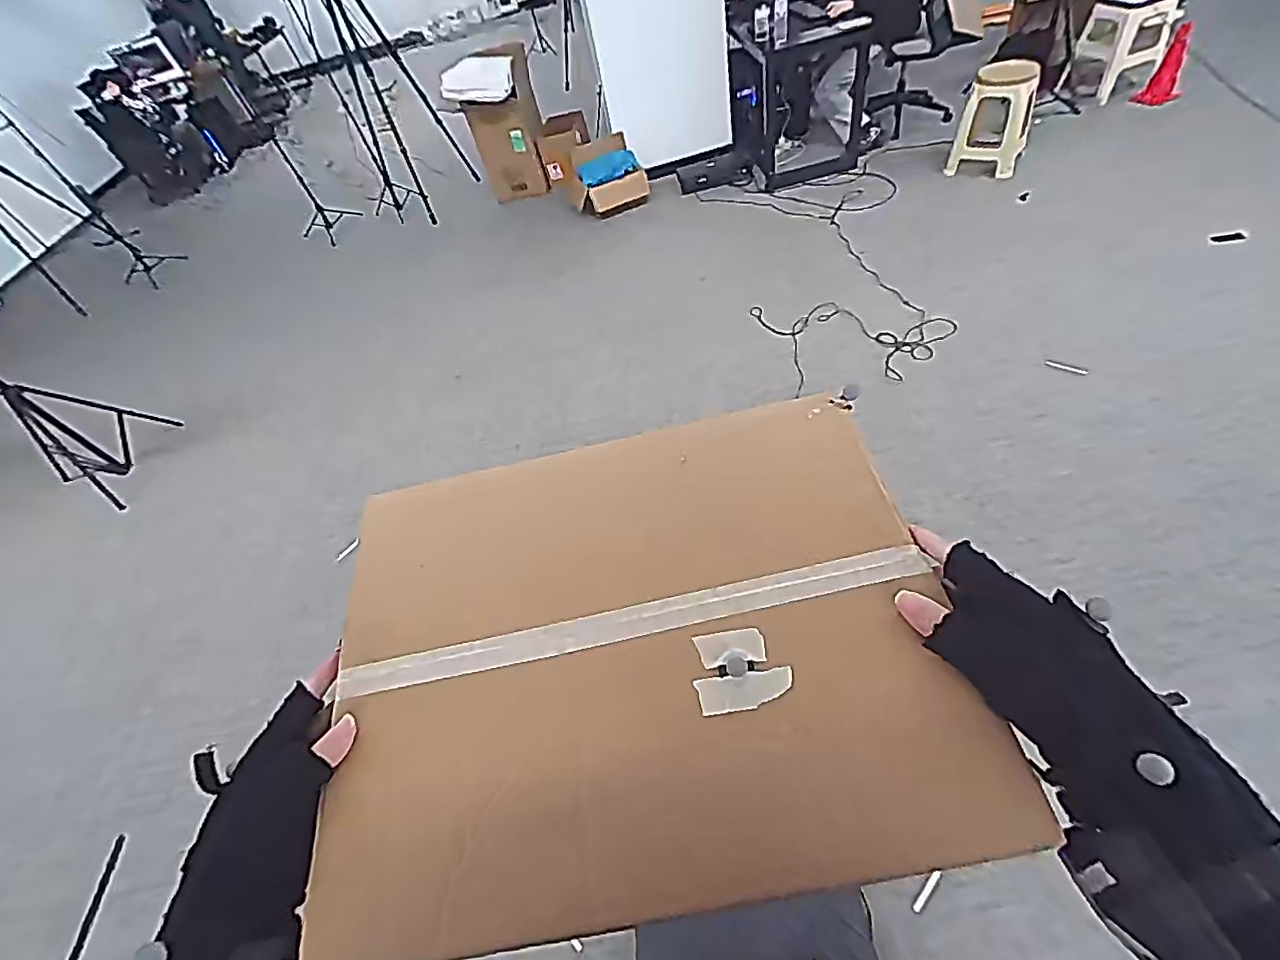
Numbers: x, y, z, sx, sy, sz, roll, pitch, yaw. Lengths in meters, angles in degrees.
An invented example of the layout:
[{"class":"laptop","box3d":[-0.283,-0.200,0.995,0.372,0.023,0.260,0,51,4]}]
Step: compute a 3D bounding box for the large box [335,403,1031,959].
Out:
[{"class":"large box","box3d":[0.017,0.182,0.501,0.408,0.320,0.320,-12,56,2]}]
